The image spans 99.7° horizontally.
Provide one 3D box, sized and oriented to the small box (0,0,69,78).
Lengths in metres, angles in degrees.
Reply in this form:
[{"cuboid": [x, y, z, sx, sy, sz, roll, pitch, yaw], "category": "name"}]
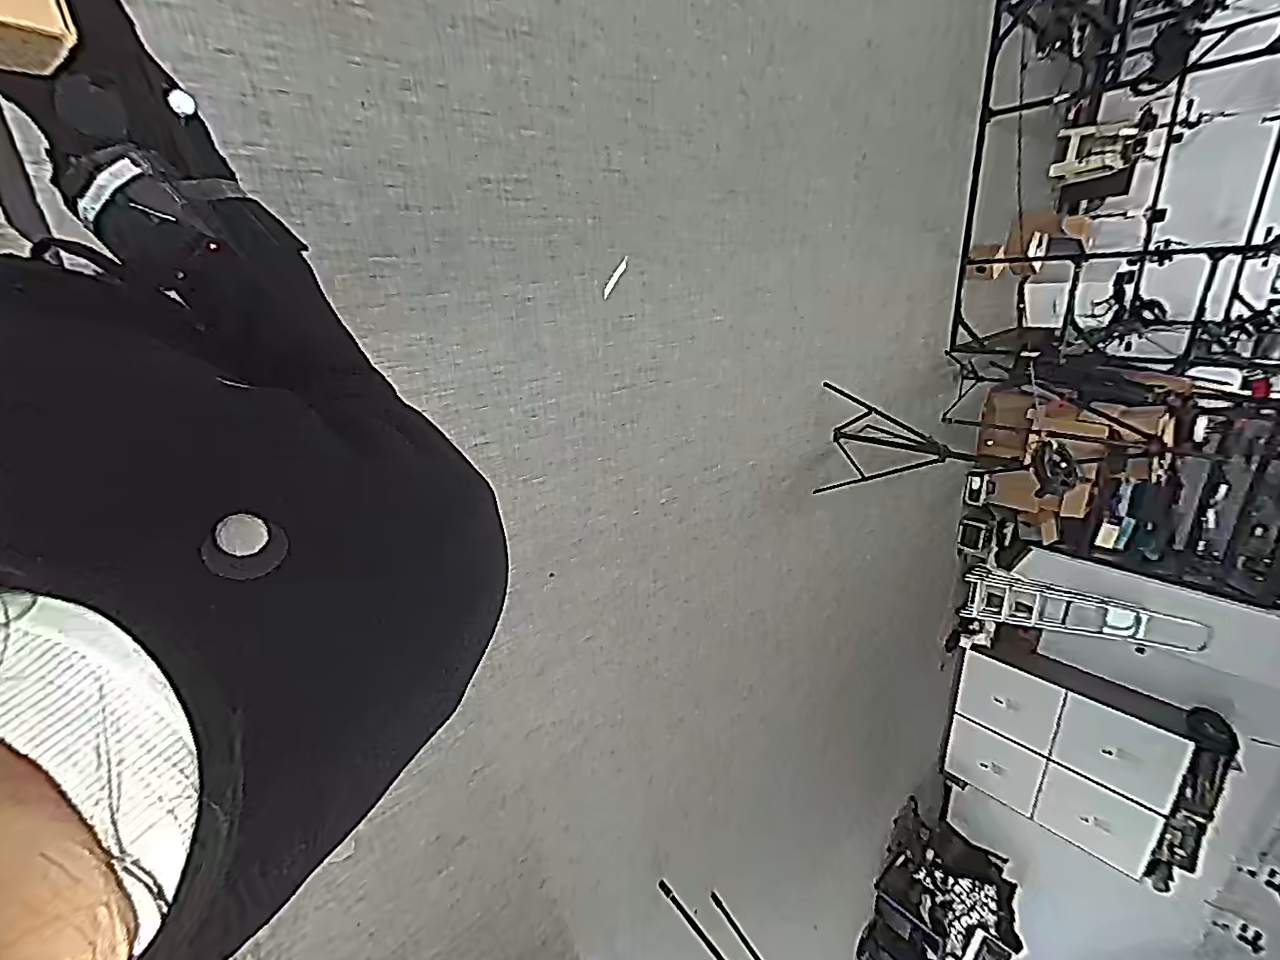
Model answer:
[{"cuboid": [-0.314, -0.241, 0.149, 0.176, 0.168, 0.179, -21, 126, -42], "category": "small box"}]
